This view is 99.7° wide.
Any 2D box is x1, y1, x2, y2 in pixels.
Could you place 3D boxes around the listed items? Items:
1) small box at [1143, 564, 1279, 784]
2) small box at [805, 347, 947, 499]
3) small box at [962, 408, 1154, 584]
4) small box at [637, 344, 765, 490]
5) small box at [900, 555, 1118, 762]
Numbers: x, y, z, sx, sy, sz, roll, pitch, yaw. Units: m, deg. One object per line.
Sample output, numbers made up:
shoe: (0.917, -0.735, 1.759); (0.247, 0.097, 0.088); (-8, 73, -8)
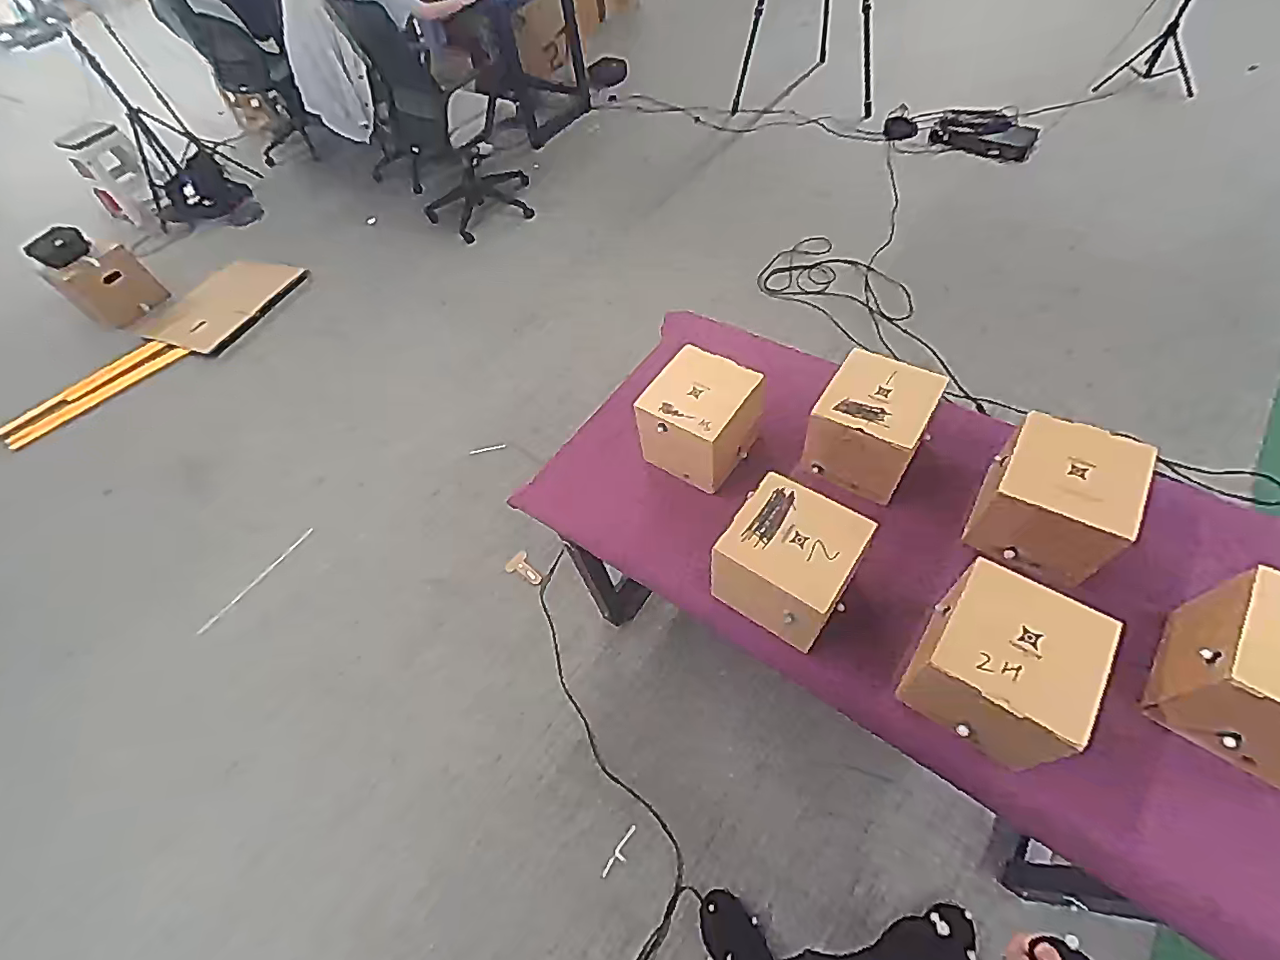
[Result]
small box: (0.781, 0.243, 0.667); (0.168, 0.176, 0.179); (30, 66, 26)
small box: (0.406, -0.096, 0.956); (0.168, 0.176, 0.179); (27, 64, 24)
small box: (0.632, 0.027, 0.837); (0.168, 0.176, 0.179); (27, 64, 25)
small box: (0.116, -0.115, 1.014); (0.168, 0.176, 0.179); (28, 64, 26)
small box: (0.472, 0.238, 0.717); (0.168, 0.176, 0.179); (29, 64, 26)
